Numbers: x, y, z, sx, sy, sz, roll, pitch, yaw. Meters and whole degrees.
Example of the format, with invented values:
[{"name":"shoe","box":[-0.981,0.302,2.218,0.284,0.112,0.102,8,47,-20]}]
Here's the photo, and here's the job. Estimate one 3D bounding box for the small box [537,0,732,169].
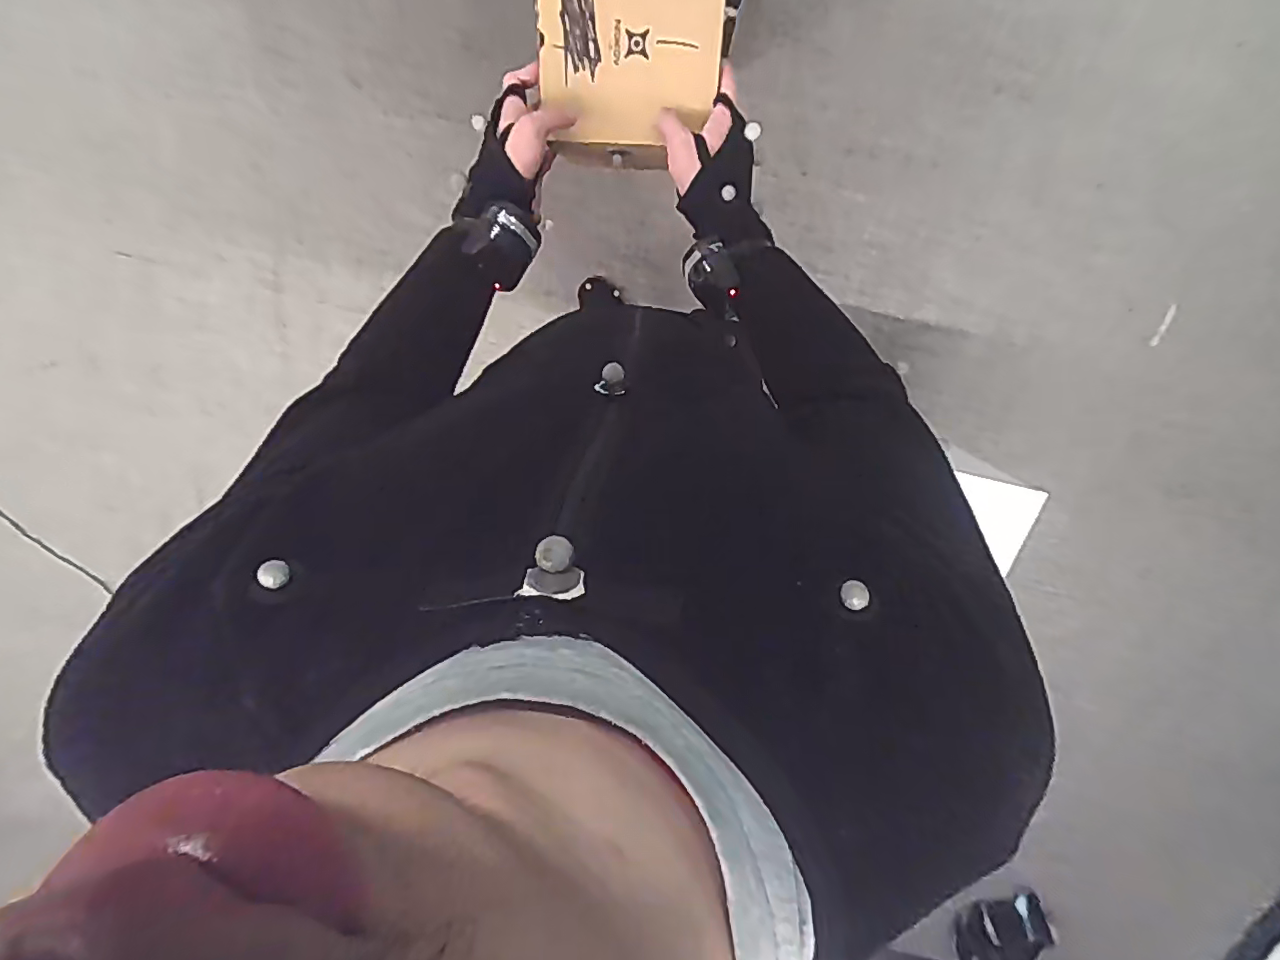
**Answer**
[{"name":"small box","box":[-0.004,-0.429,0.558,0.179,0.176,0.168,3,112,0]}]
